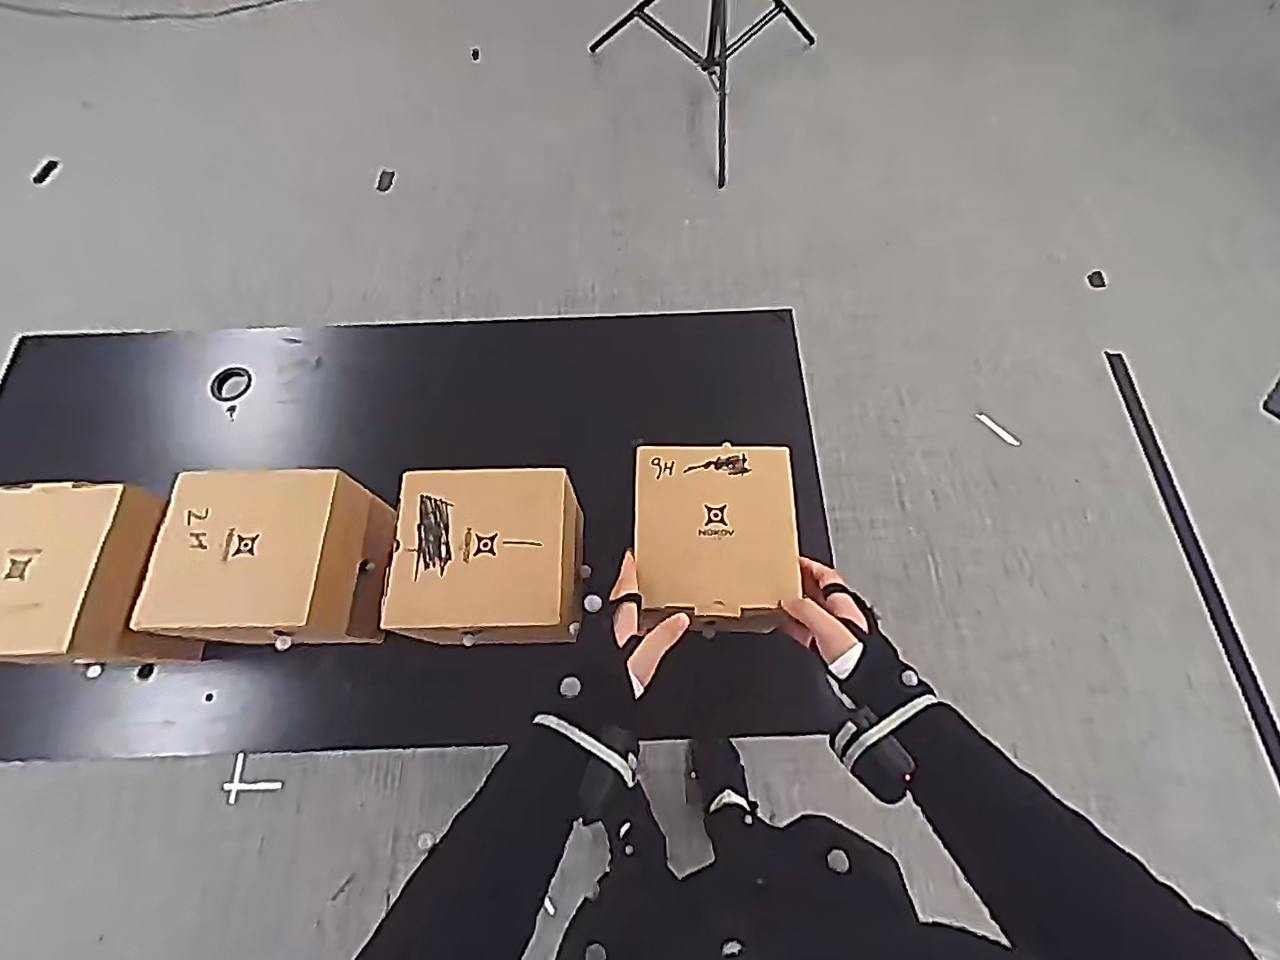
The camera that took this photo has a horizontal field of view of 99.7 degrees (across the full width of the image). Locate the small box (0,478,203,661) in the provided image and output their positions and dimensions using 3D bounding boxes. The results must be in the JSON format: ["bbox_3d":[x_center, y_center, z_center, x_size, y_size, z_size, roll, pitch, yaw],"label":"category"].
[{"bbox_3d":[-0.623,0.110,0.617,0.168,0.176,0.179,-2,69,1],"label":"small box"}]

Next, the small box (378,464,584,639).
[{"bbox_3d":[-0.162,0.089,0.616,0.179,0.176,0.168,-1,69,0],"label":"small box"}]

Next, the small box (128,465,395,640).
[{"bbox_3d":[-0.404,0.090,0.620,0.179,0.176,0.168,-1,68,1],"label":"small box"}]

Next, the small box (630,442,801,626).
[{"bbox_3d":[0.077,0.070,0.617,0.168,0.176,0.179,1,69,1],"label":"small box"}]
